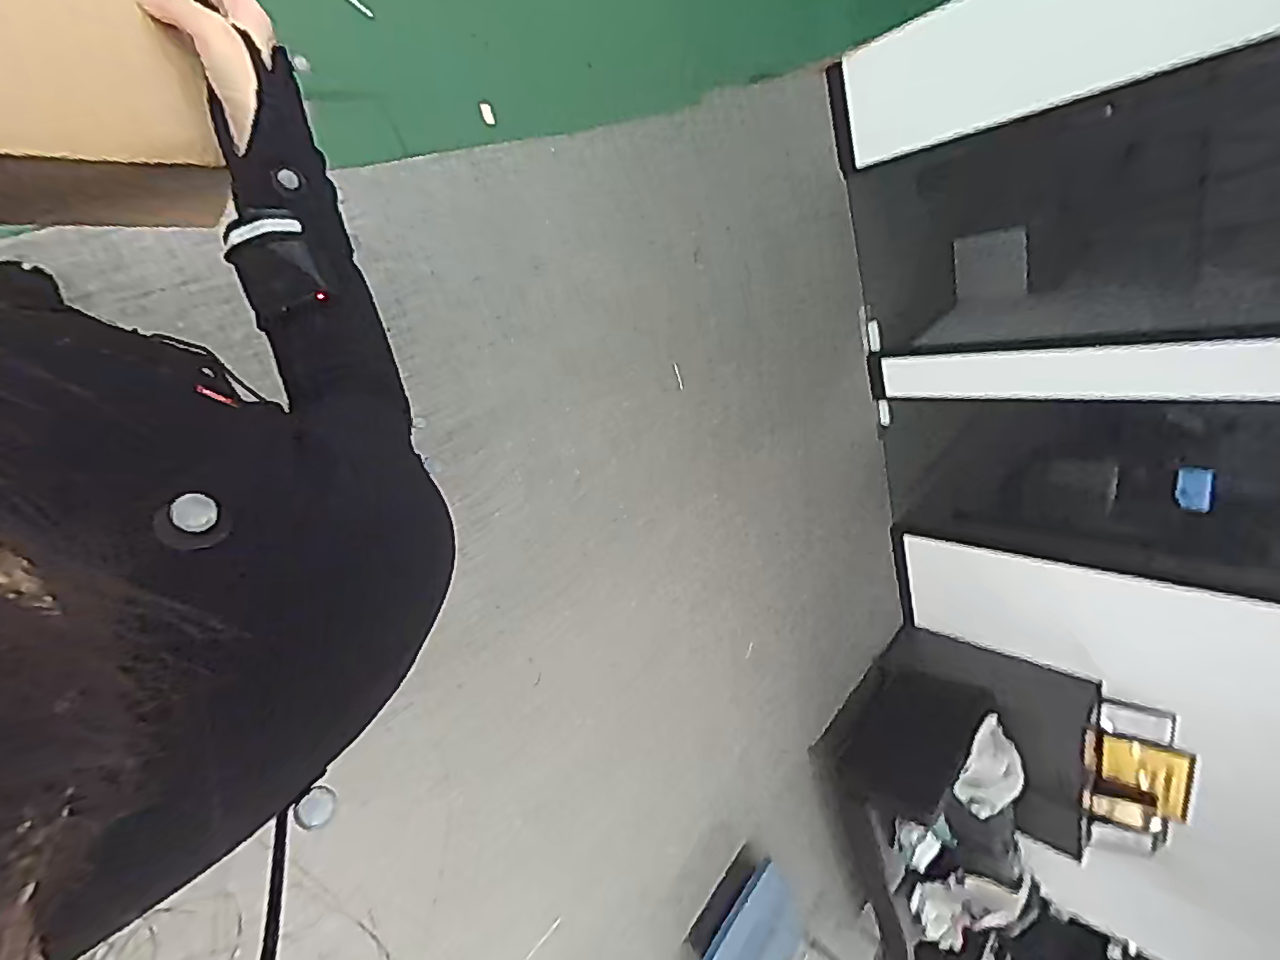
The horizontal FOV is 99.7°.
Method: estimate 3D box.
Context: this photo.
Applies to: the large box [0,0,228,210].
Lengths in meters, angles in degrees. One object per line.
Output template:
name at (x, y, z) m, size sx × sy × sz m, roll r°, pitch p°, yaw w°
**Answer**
large box at (-0.572, -0.370, 0.362) m, size 0.408 × 0.320 × 0.320 m, roll -19°, pitch 113°, yaw -35°
